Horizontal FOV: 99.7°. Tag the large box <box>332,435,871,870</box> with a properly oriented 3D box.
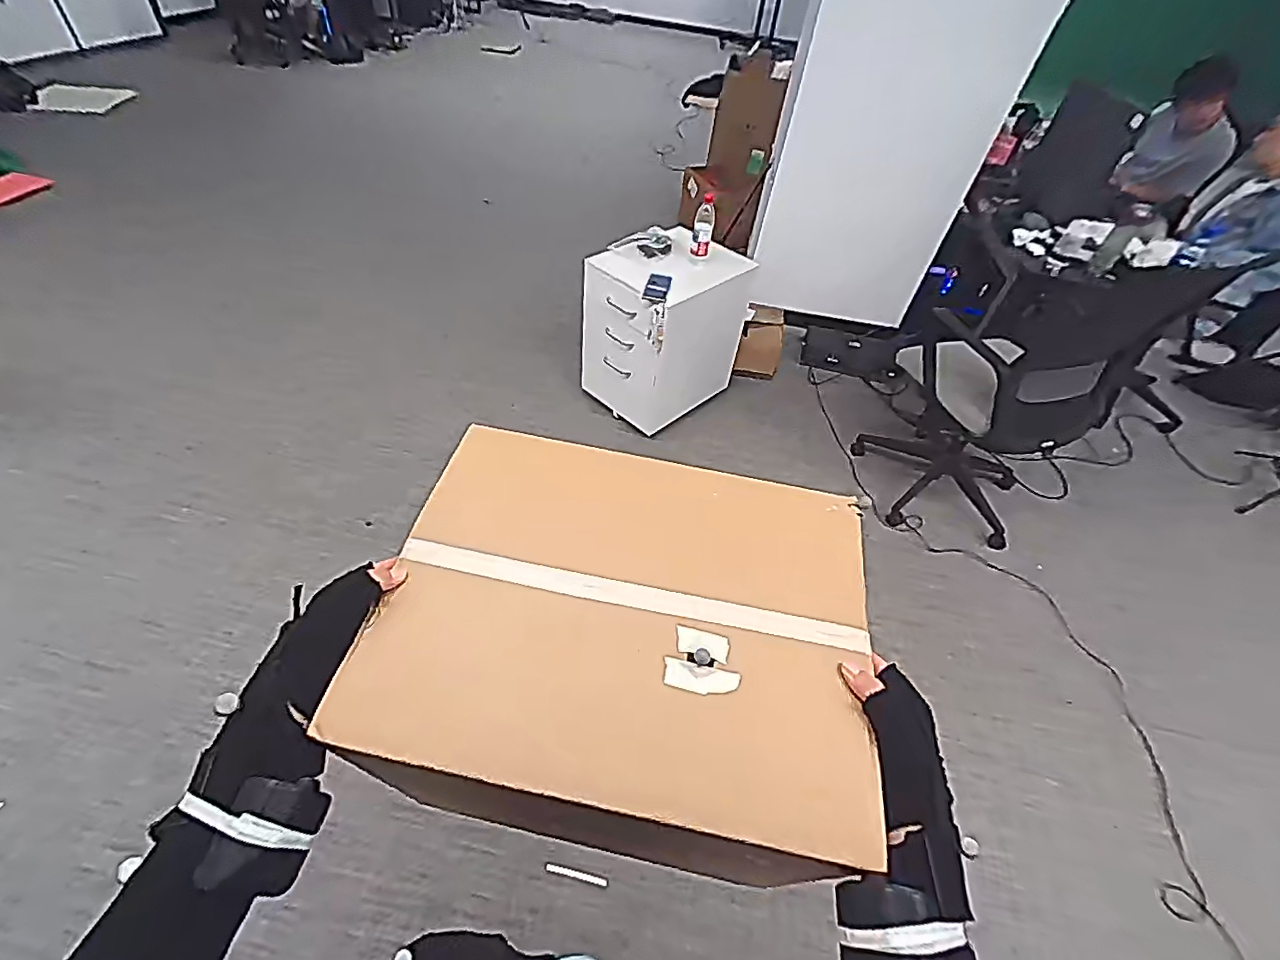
[{"bbox_3d":[-0.020,0.194,0.592,0.408,0.320,0.320,12,53,3],"label":"large box"}]
